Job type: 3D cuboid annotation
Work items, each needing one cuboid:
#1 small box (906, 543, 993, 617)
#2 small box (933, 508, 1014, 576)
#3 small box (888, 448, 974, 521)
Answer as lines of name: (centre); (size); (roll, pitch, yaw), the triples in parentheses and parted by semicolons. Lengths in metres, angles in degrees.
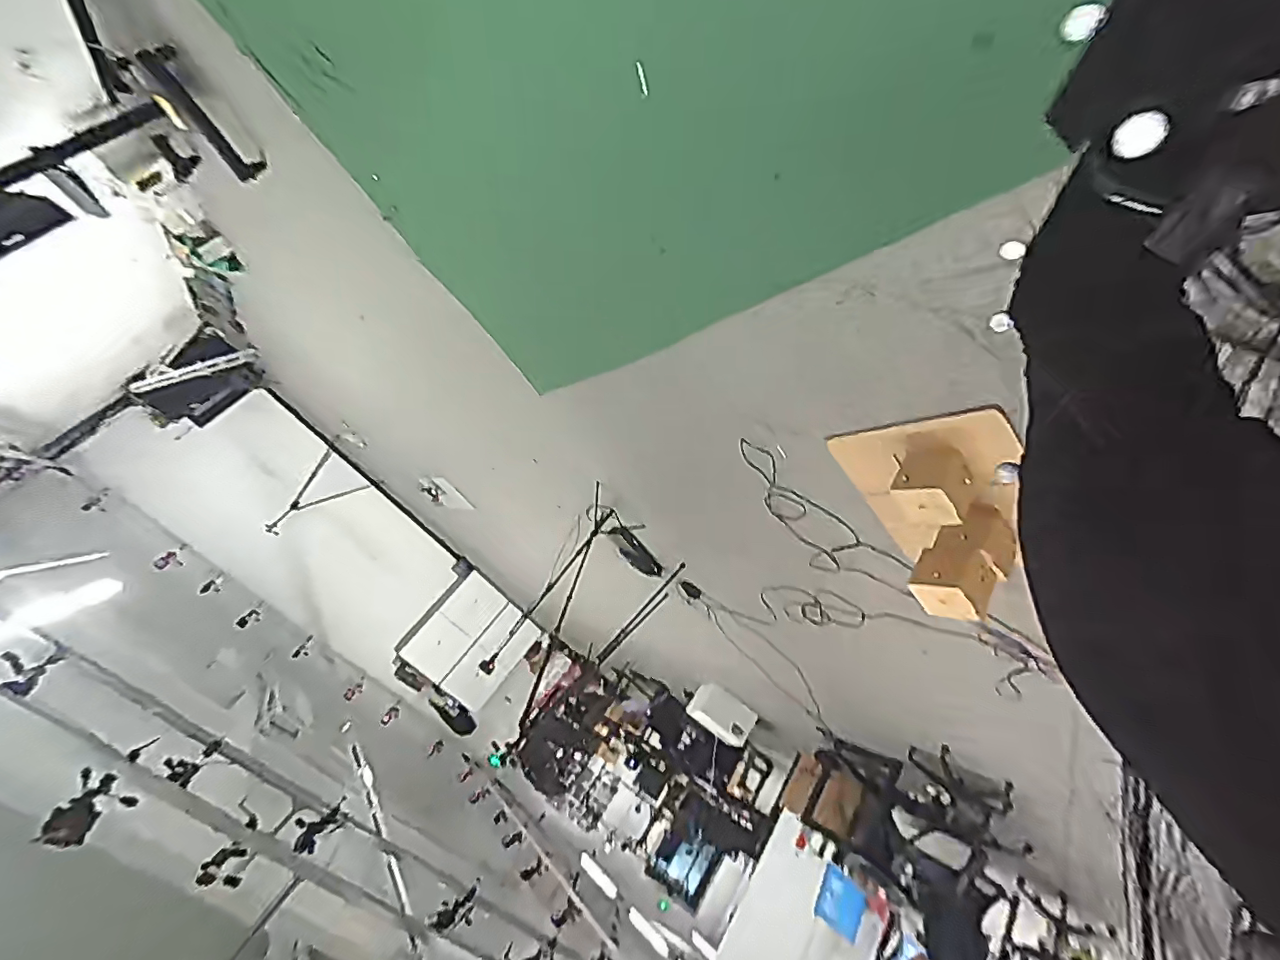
small box: (1.023, 0.323, 1.783); (0.168, 0.176, 0.179); (48, 153, -19)
small box: (1.132, 0.208, 1.830); (0.168, 0.176, 0.179); (46, 154, -17)
small box: (0.946, 0.013, 1.754); (0.168, 0.176, 0.179); (49, 152, -23)
